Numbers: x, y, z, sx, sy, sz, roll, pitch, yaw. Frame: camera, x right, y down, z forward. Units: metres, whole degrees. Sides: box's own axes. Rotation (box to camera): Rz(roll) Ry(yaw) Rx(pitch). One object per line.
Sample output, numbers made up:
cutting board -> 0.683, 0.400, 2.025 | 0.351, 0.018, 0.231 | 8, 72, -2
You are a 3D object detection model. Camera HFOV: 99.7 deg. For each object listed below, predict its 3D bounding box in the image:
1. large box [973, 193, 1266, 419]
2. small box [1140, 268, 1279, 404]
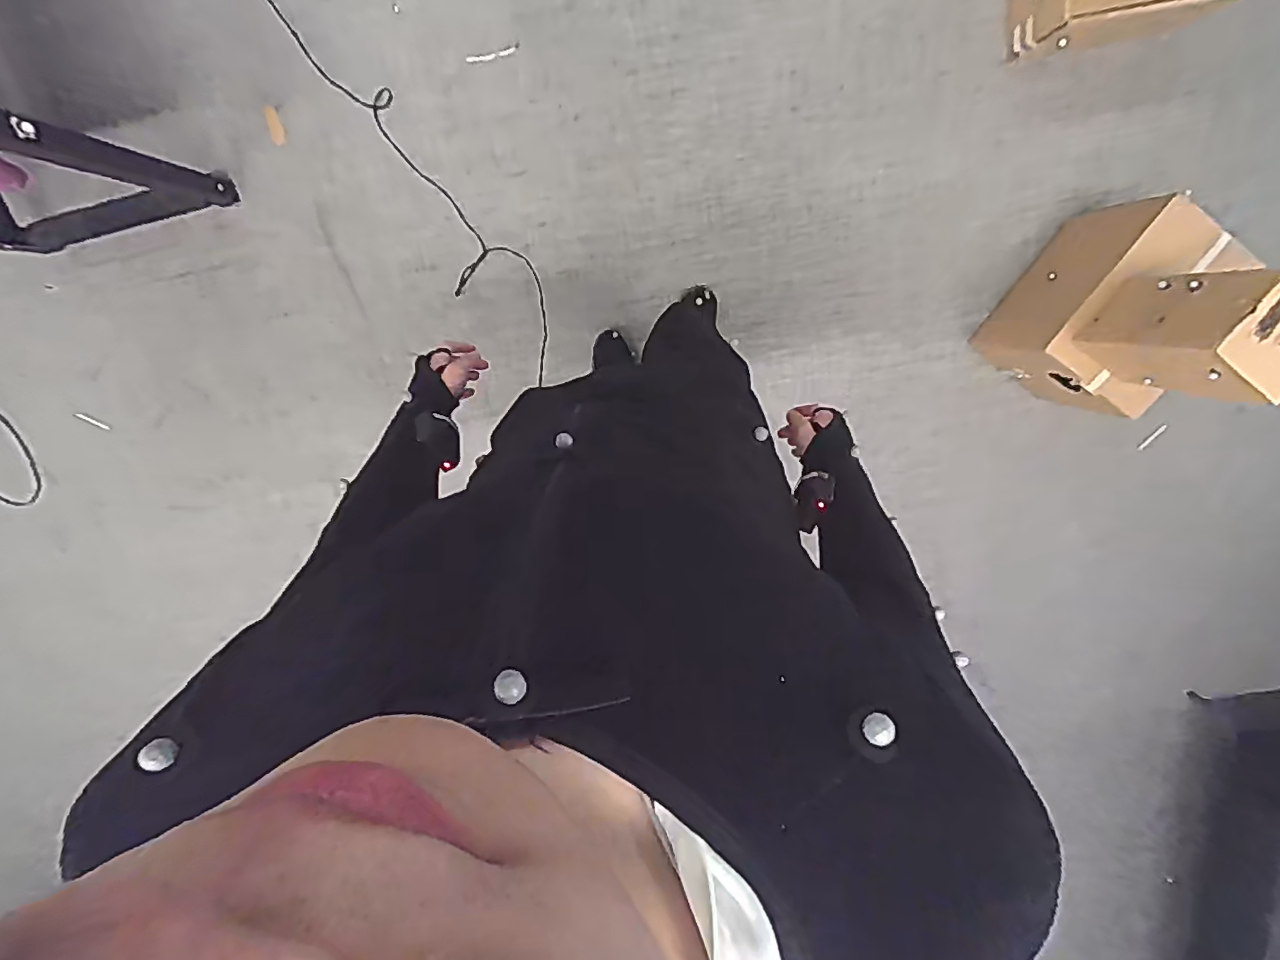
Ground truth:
large box -> 1.169, -0.421, 1.374 | 0.320, 0.320, 0.408 | 31, 103, -10
small box -> 1.099, -0.262, 0.994 | 0.179, 0.176, 0.168 | 32, 104, -10
